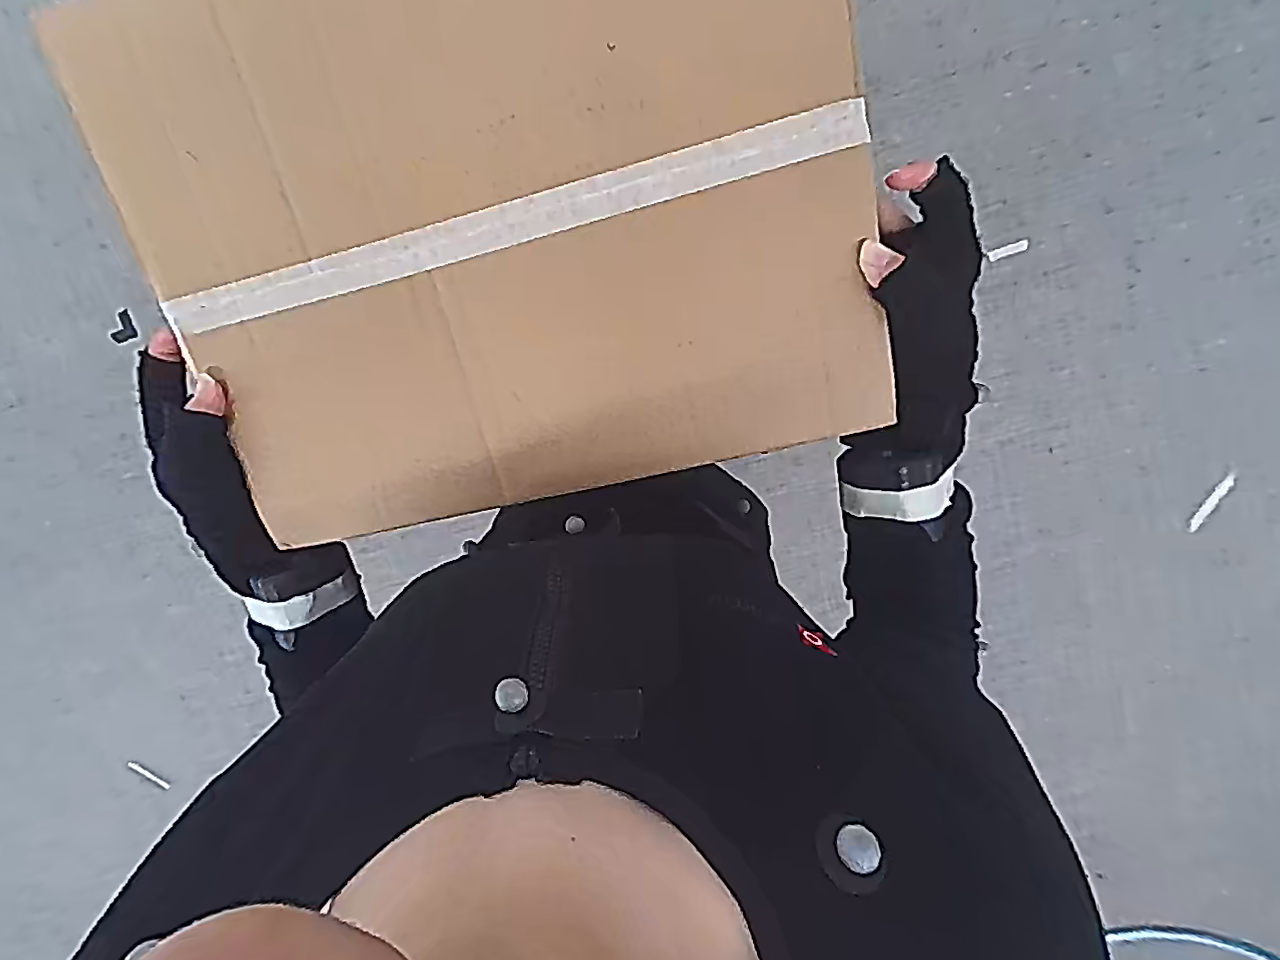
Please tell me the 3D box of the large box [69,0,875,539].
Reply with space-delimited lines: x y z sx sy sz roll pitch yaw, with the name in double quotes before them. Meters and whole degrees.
"large box" -0.074 -0.188 0.449 0.408 0.320 0.320 -12 106 8
